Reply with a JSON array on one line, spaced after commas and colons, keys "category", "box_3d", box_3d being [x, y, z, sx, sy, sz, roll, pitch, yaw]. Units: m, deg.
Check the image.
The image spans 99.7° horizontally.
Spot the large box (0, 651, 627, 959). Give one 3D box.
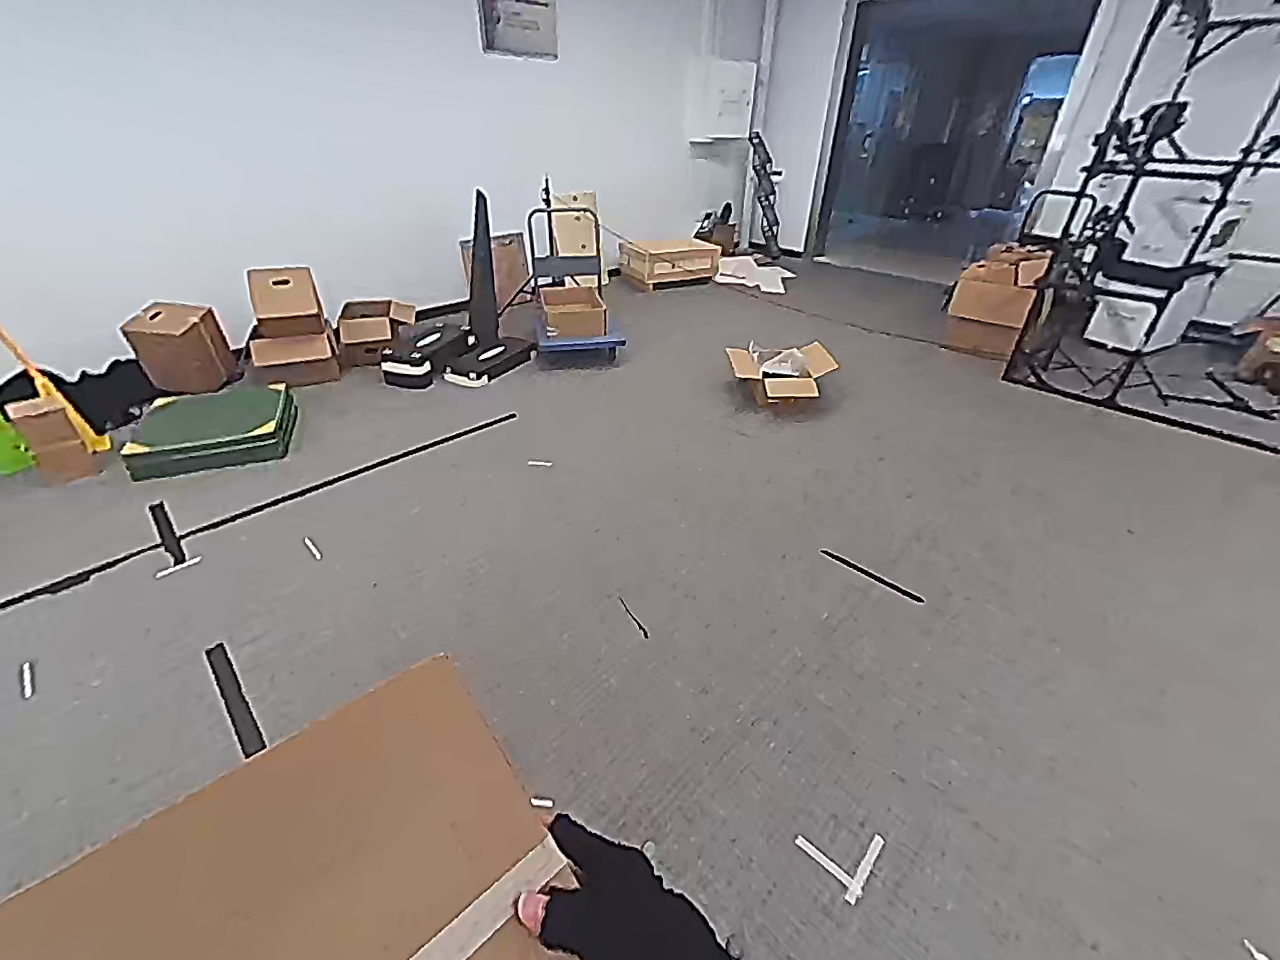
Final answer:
[{"category": "large box", "box_3d": [-0.259, 0.393, 0.371, 0.408, 0.320, 0.320, -26, 75, -36]}]
